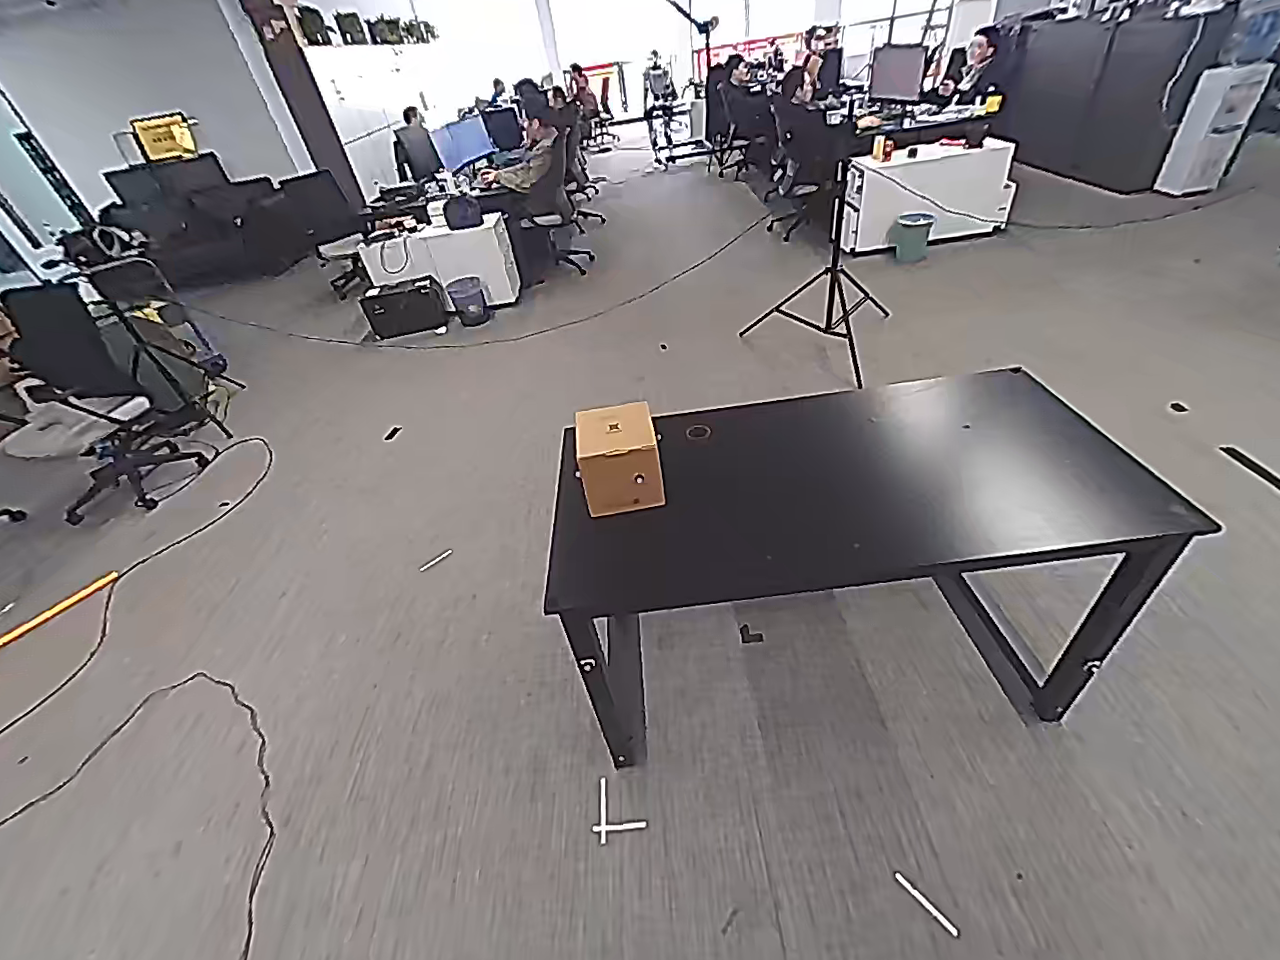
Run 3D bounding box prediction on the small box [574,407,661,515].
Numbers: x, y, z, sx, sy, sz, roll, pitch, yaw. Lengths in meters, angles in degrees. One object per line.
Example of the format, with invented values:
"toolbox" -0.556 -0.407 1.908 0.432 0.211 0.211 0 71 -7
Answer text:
"small box" -0.050 -0.036 1.202 0.168 0.176 0.179 -9 38 -1
